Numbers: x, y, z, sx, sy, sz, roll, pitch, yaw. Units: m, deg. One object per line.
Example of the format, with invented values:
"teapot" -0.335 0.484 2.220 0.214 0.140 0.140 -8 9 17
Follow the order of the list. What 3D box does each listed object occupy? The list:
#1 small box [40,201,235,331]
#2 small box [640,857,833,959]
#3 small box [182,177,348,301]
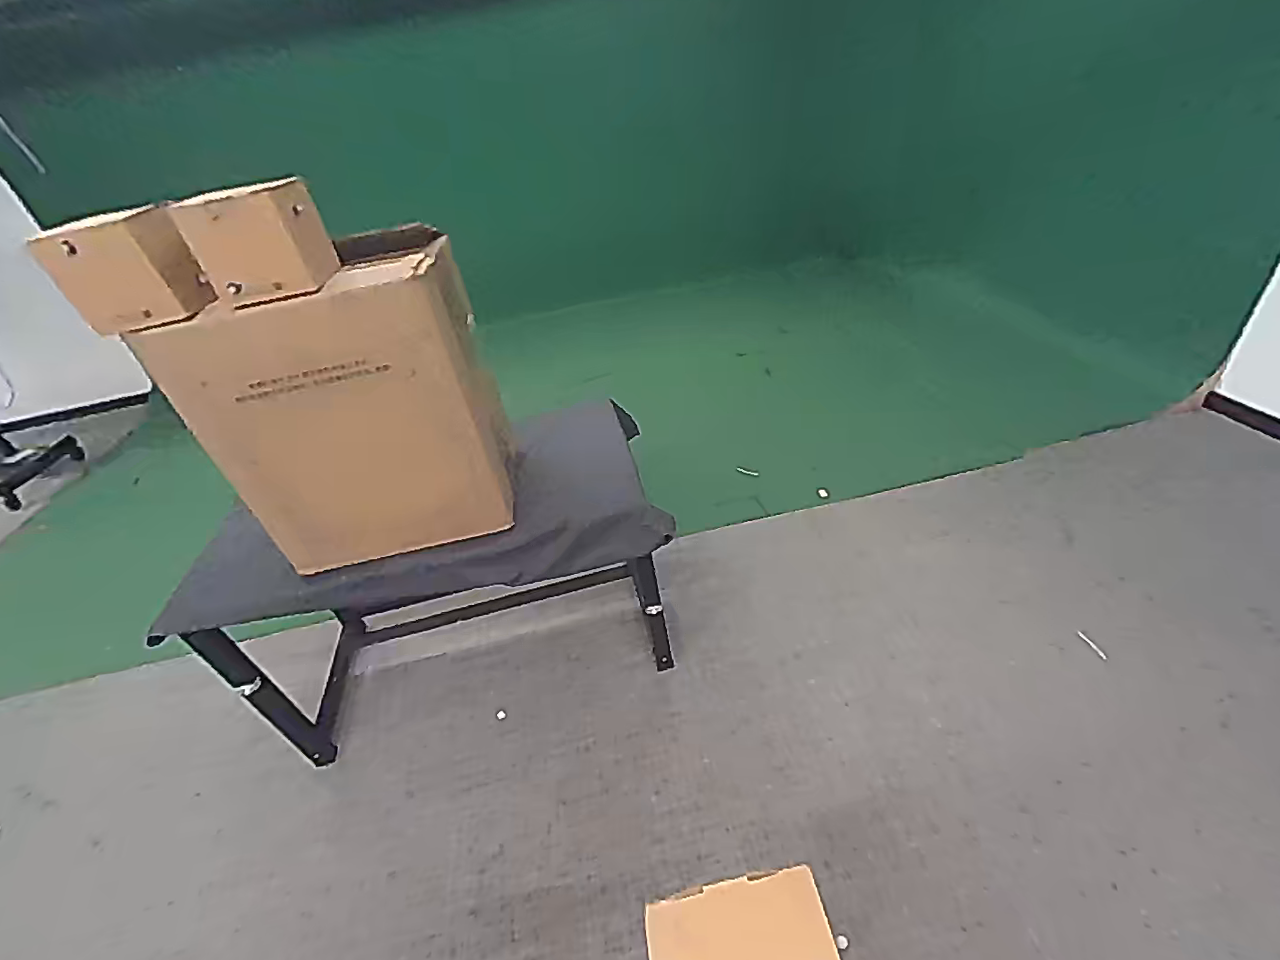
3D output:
"small box" -0.894 -0.392 0.991 0.168 0.176 0.179 -14 36 0
"small box" 0.102 0.493 0.498 0.168 0.176 0.179 -14 34 3
"small box" -0.677 -0.445 1.005 0.168 0.176 0.179 -12 36 -3
